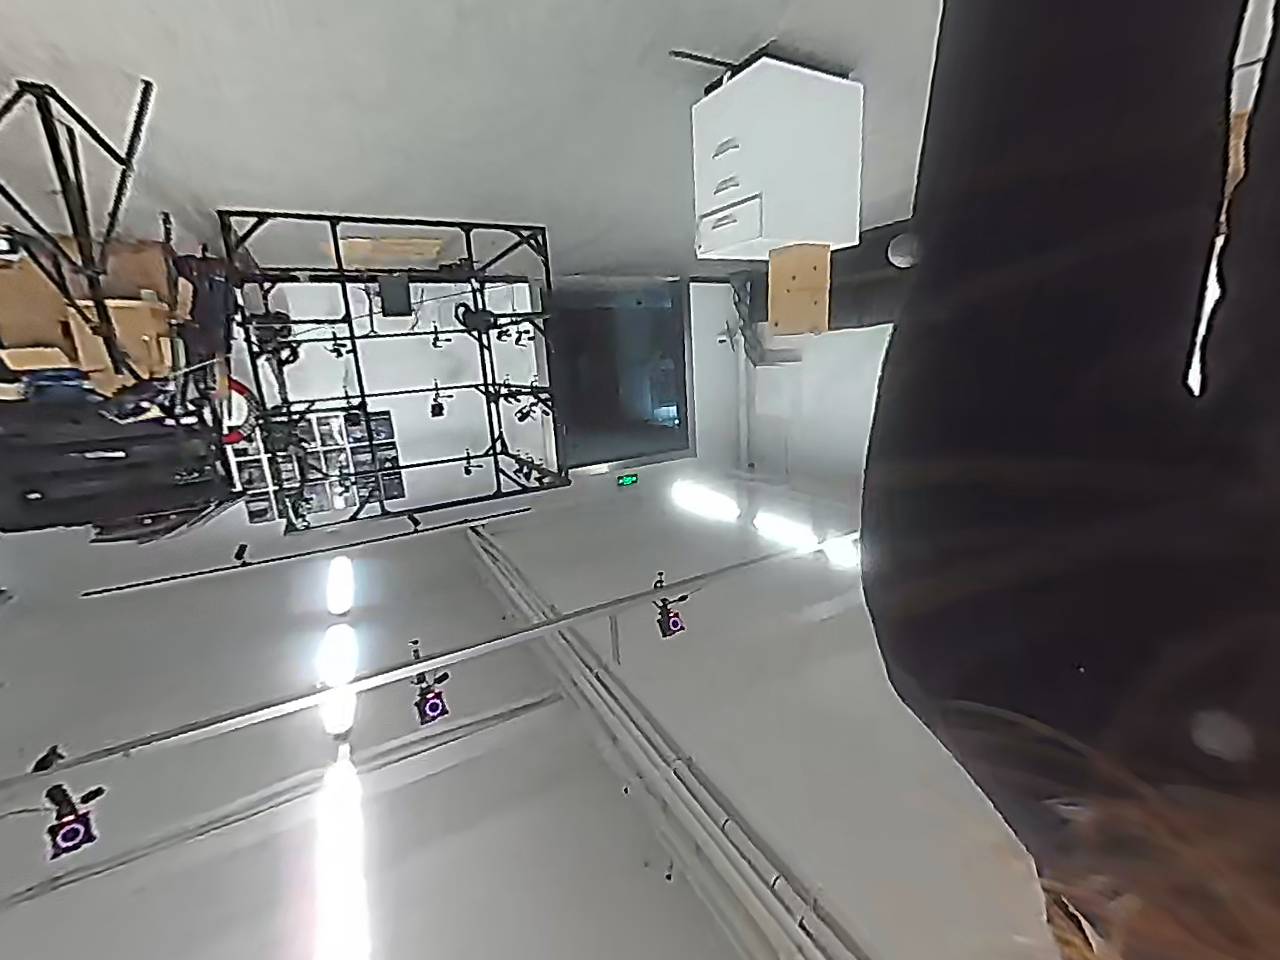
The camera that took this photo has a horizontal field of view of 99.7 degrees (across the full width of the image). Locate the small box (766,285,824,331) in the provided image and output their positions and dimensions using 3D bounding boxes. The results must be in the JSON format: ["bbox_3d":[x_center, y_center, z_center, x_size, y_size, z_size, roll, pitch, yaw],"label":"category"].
[{"bbox_3d":[0.637,-0.700,2.207,0.168,0.176,0.179,-14,-162,-31],"label":"small box"}]
